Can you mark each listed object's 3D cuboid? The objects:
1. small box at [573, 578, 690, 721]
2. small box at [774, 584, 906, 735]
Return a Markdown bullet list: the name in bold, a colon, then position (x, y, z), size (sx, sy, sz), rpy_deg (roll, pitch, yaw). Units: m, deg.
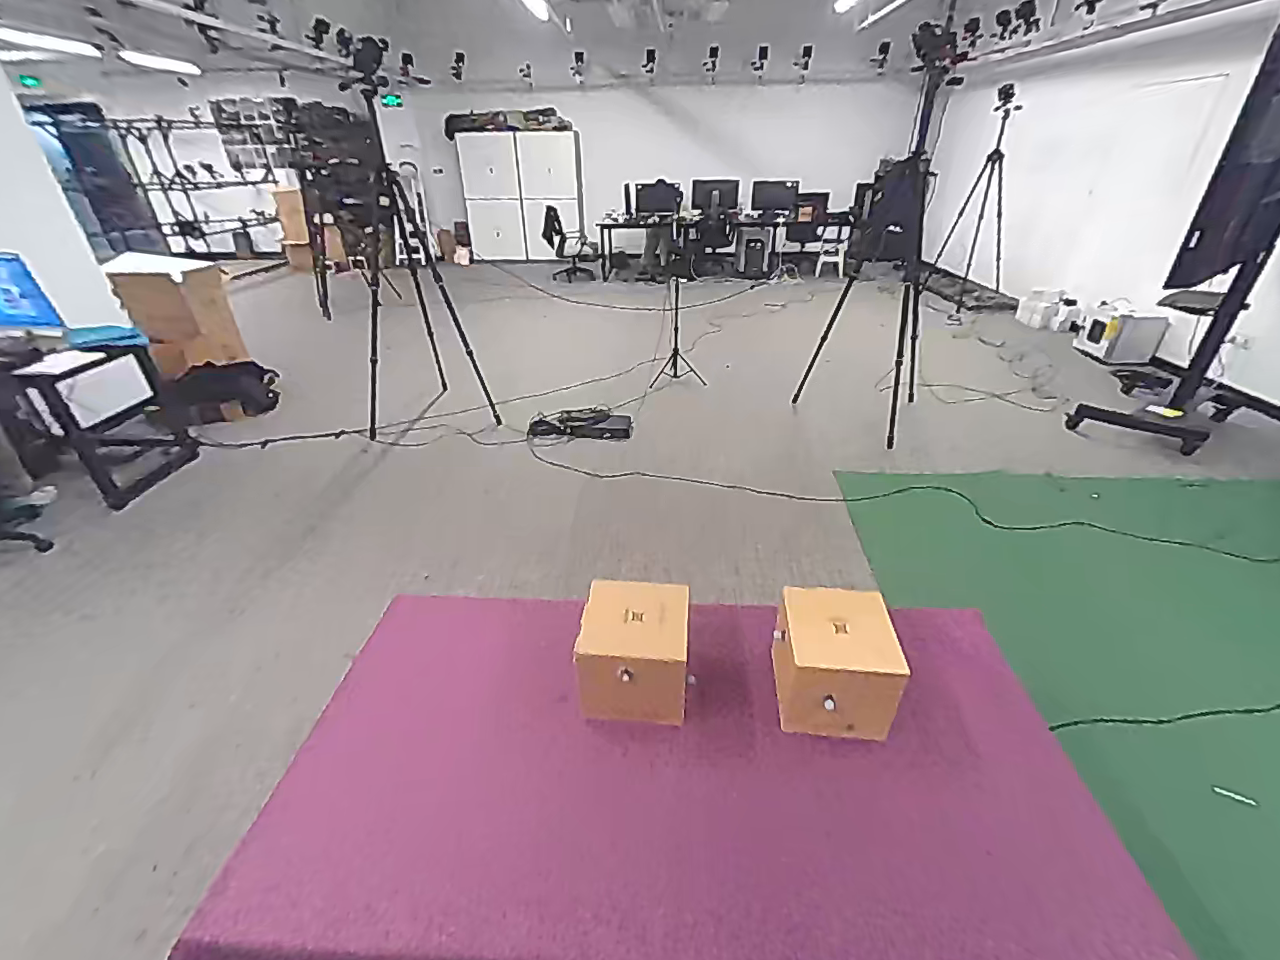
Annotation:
- **small box**: position (-0.006, 0.290, 0.929), size (0.179, 0.176, 0.168), rpy_deg (3, 32, 6)
- **small box**: position (0.321, 0.298, 0.902), size (0.168, 0.176, 0.179), rpy_deg (2, 31, 7)
